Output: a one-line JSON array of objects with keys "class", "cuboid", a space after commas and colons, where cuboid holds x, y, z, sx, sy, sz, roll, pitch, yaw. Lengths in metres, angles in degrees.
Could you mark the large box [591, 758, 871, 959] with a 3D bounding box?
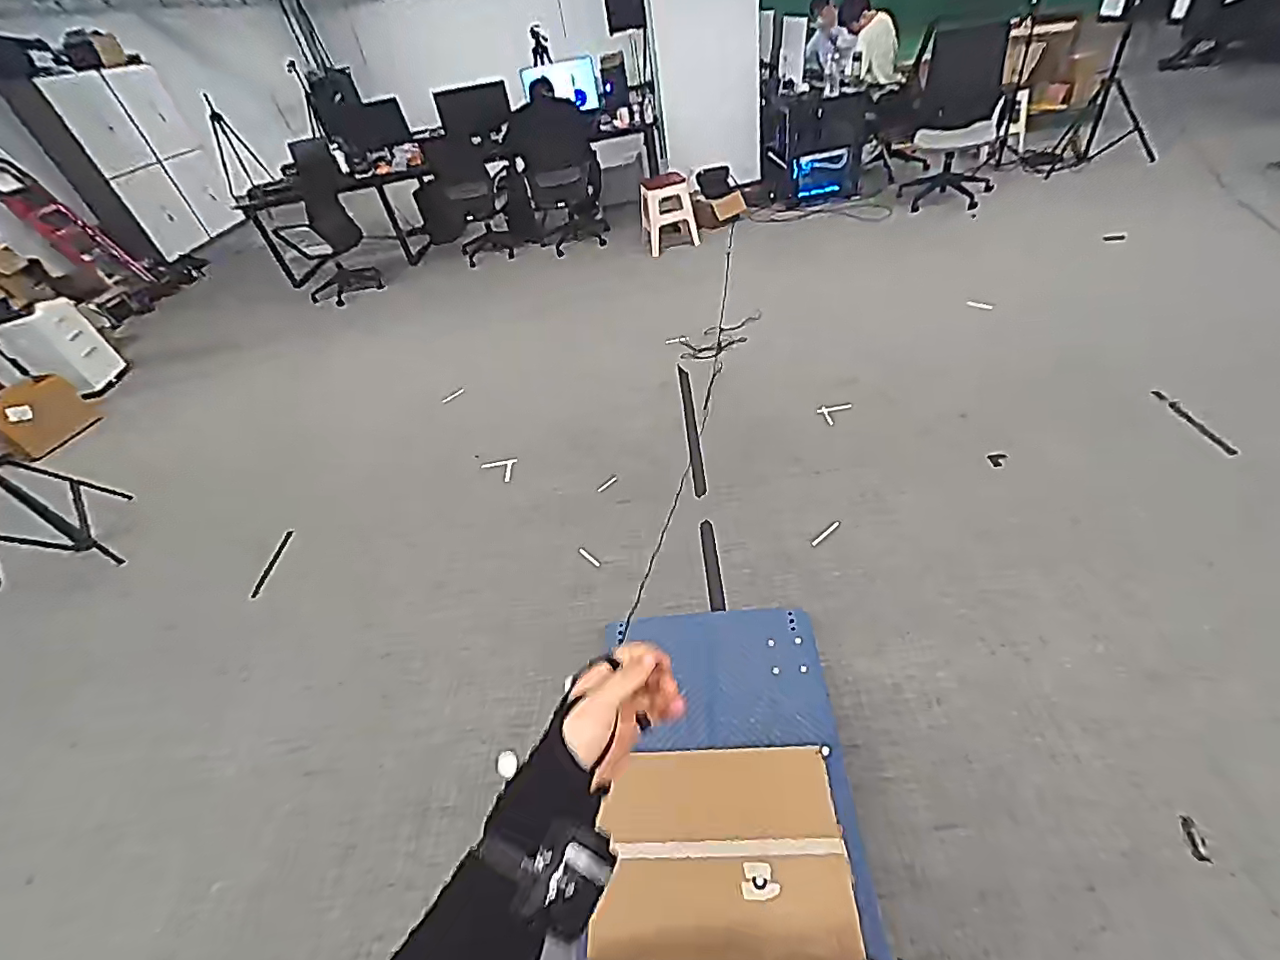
[{"class": "large box", "cuboid": [0.147, 0.721, 0.950, 0.408, 0.320, 0.320, -6, 42, 7]}]
